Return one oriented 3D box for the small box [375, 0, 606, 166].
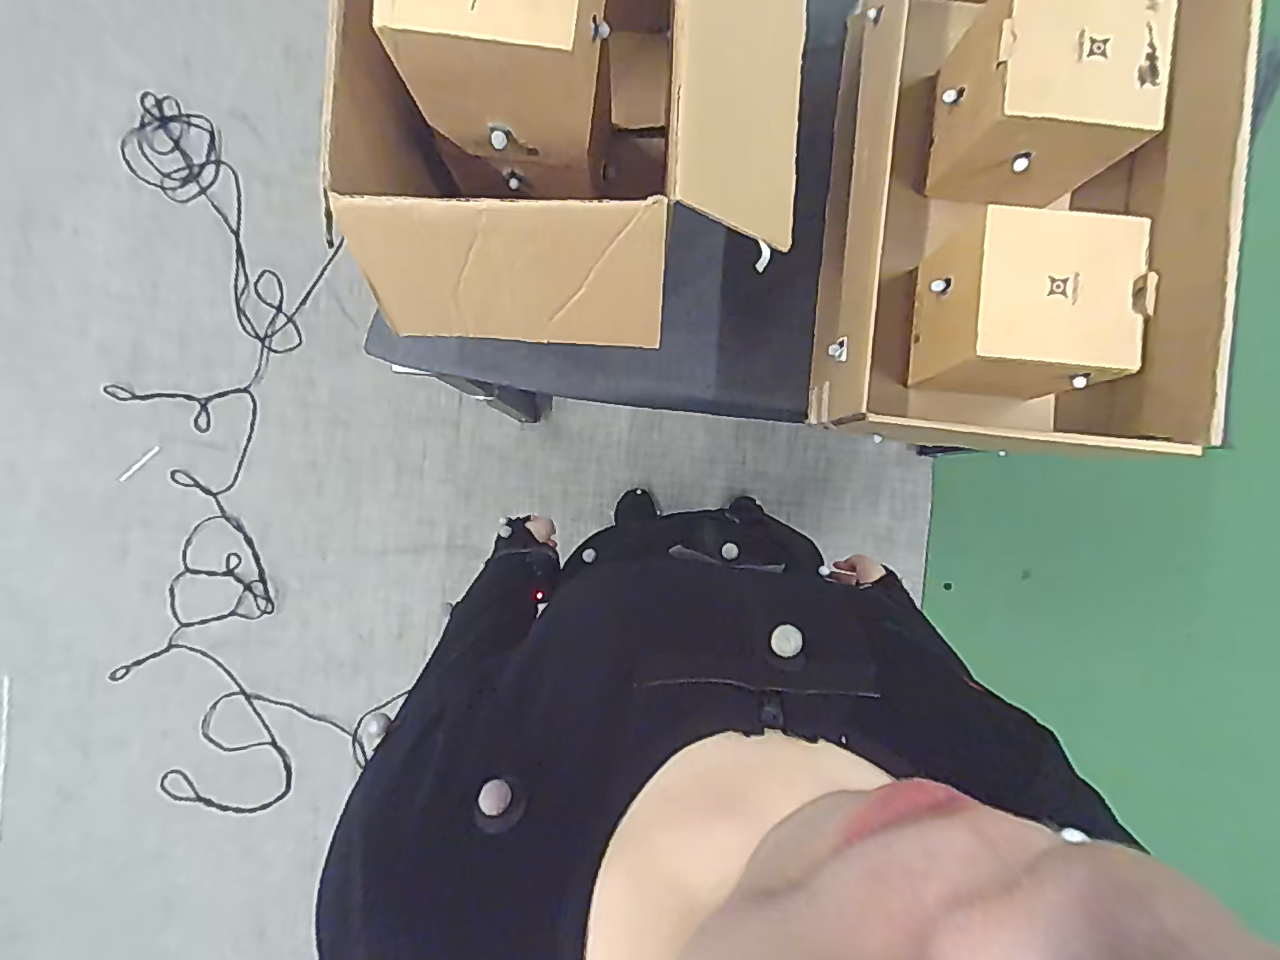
[{"bbox_3d":[-0.124,-0.443,0.518,0.168,0.176,0.179,7,92,-1],"label":"small box"}]
